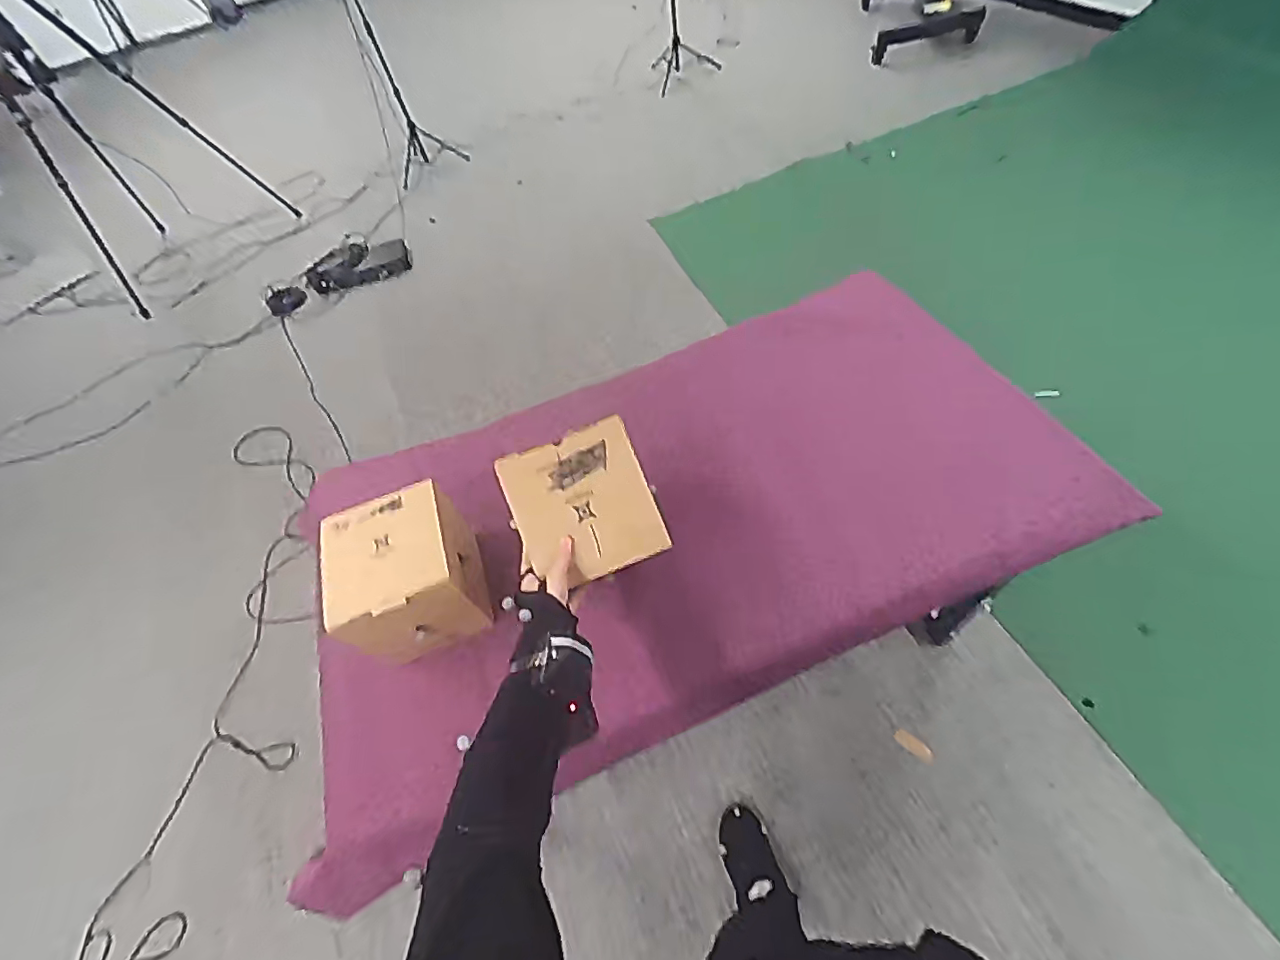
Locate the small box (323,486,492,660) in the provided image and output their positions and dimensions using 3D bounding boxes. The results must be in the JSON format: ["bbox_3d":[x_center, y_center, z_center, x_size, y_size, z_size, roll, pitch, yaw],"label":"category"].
[{"bbox_3d":[-0.332,0.145,0.790,0.168,0.176,0.179,-22,55,-5],"label":"small box"}]

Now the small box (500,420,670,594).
[{"bbox_3d":[-0.071,0.044,0.735,0.168,0.176,0.179,-21,82,-5],"label":"small box"}]
